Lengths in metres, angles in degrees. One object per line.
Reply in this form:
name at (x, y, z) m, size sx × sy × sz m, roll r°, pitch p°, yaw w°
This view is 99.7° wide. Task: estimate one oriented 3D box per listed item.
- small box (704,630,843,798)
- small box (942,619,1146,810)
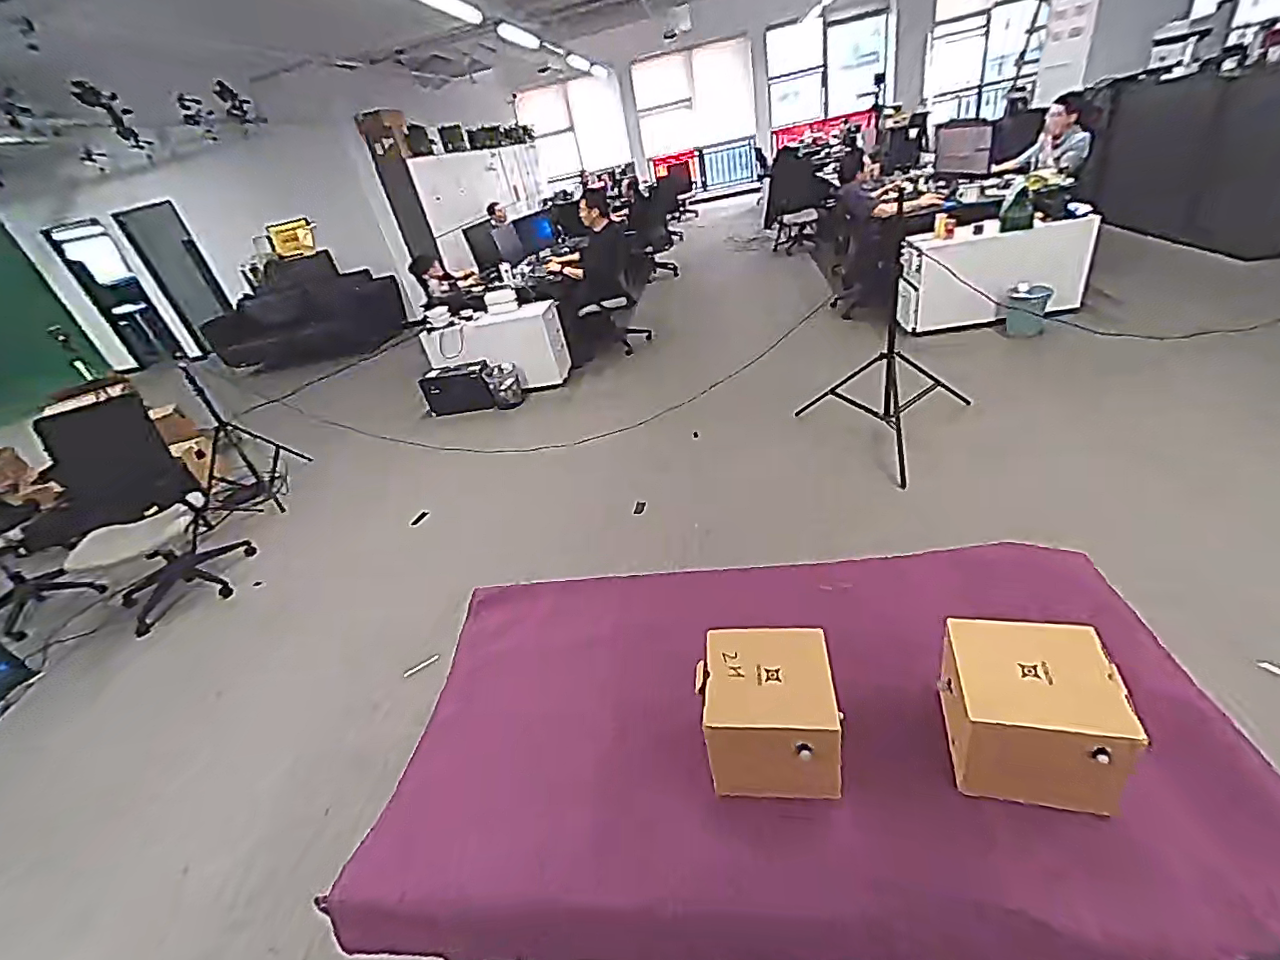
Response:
small box at (0.195, 0.342, 0.797) m, size 0.179 × 0.176 × 0.168 m, roll -5°, pitch 31°, yaw 13°
small box at (0.516, 0.310, 0.726) m, size 0.179 × 0.176 × 0.168 m, roll -1°, pitch 33°, yaw 19°
